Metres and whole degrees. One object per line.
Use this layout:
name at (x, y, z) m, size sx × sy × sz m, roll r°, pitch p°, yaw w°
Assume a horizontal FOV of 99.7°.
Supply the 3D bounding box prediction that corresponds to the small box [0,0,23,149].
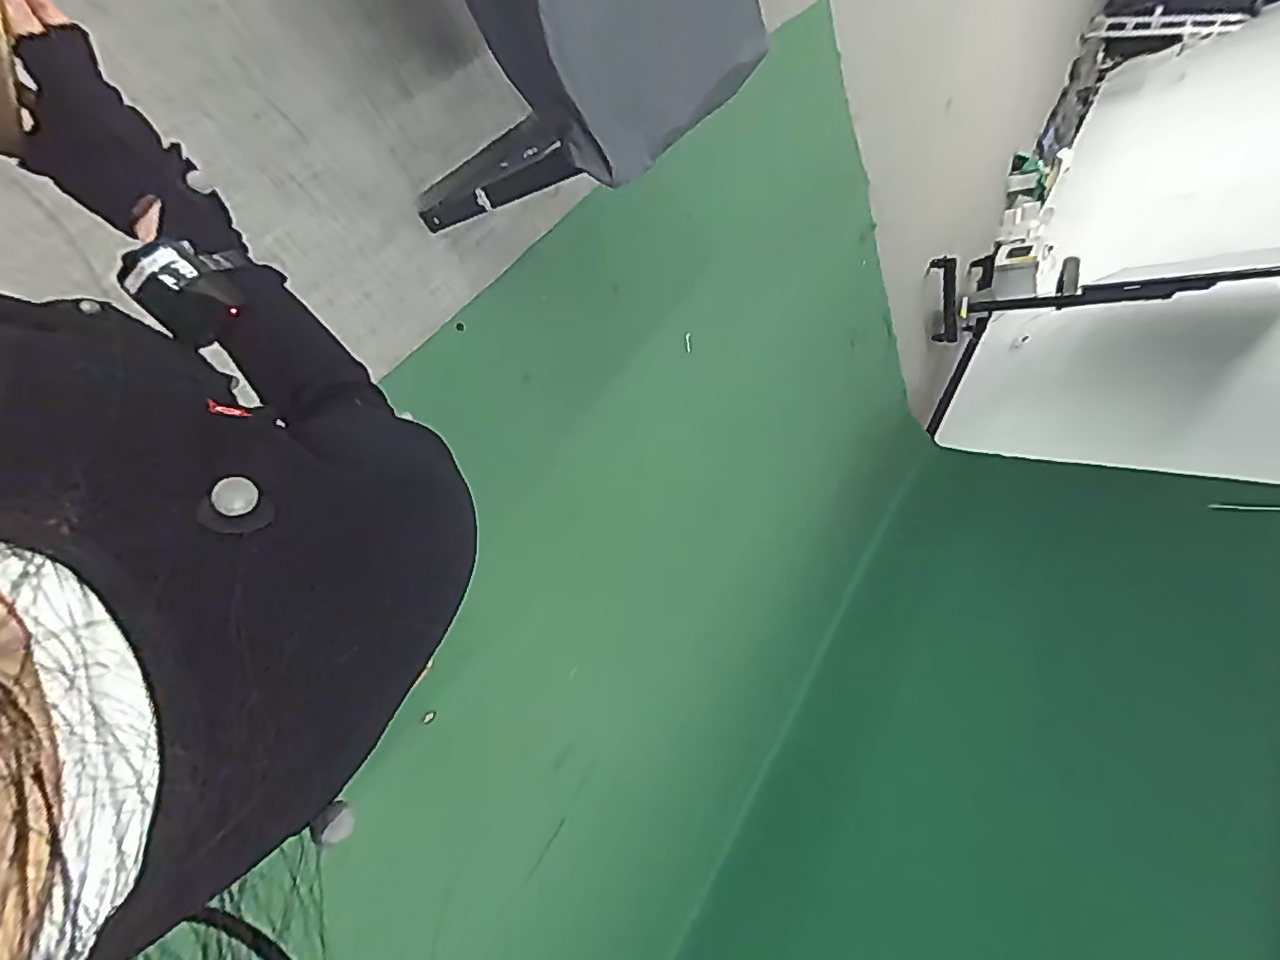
small box at (-0.470, -0.322, 0.291) m, size 0.168 × 0.176 × 0.179 m, roll -8°, pitch 99°, yaw -45°
